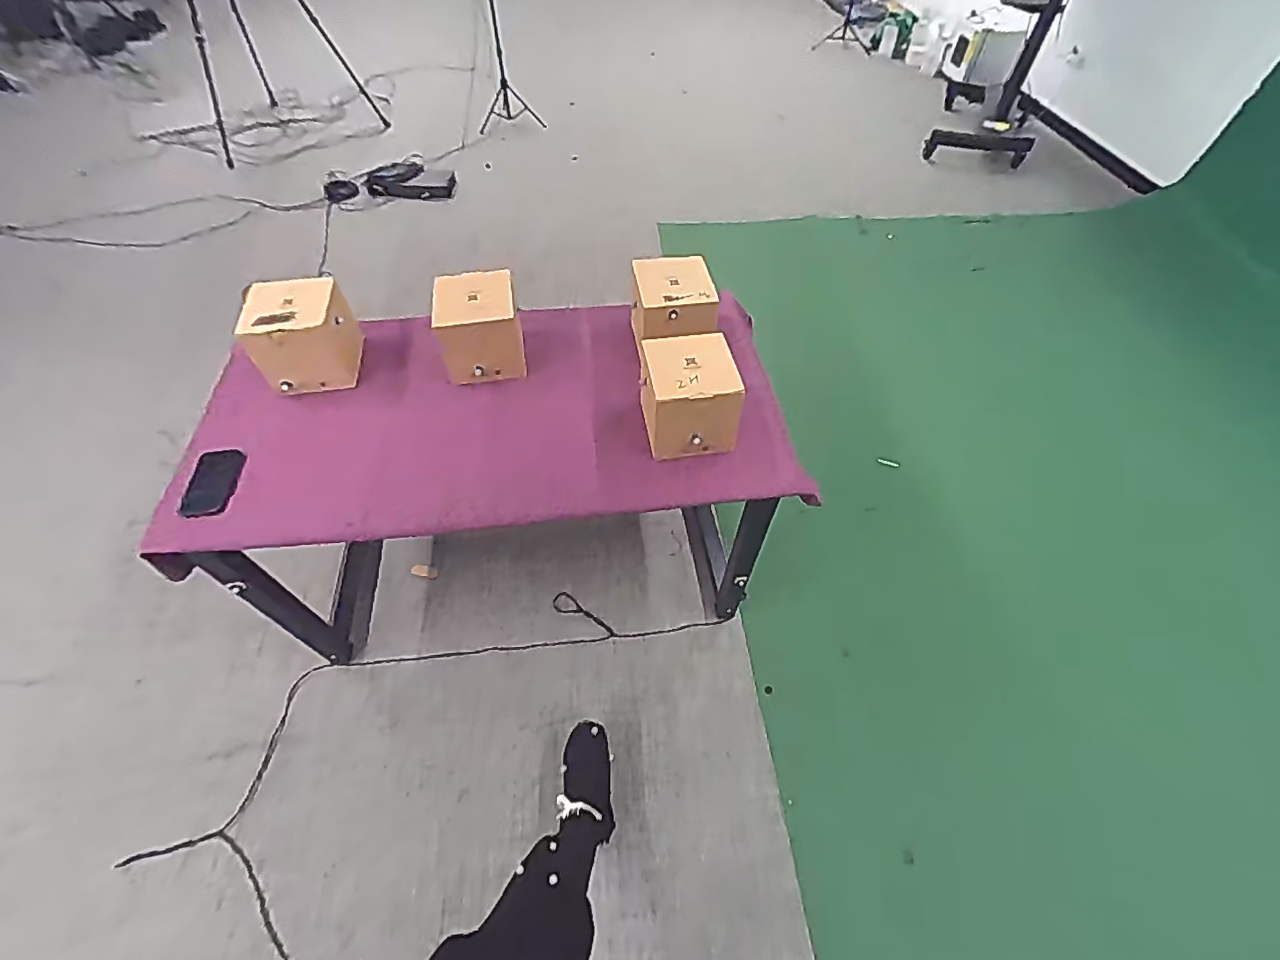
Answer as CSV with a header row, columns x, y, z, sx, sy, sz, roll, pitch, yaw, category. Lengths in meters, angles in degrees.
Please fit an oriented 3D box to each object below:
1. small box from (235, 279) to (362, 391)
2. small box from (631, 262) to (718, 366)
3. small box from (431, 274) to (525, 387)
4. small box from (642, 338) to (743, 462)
x,y,z,sx,sy,sz,roll,pitch,yaw,category
-0.722,-0.306,1.167,0.168,0.176,0.179,-8,53,-8,small box
0.071,-0.376,1.247,0.168,0.176,0.179,-7,53,-6,small box
-0.353,-0.330,1.200,0.168,0.176,0.179,-8,54,-7,small box
0.094,-0.159,1.080,0.168,0.176,0.179,-7,52,-5,small box
